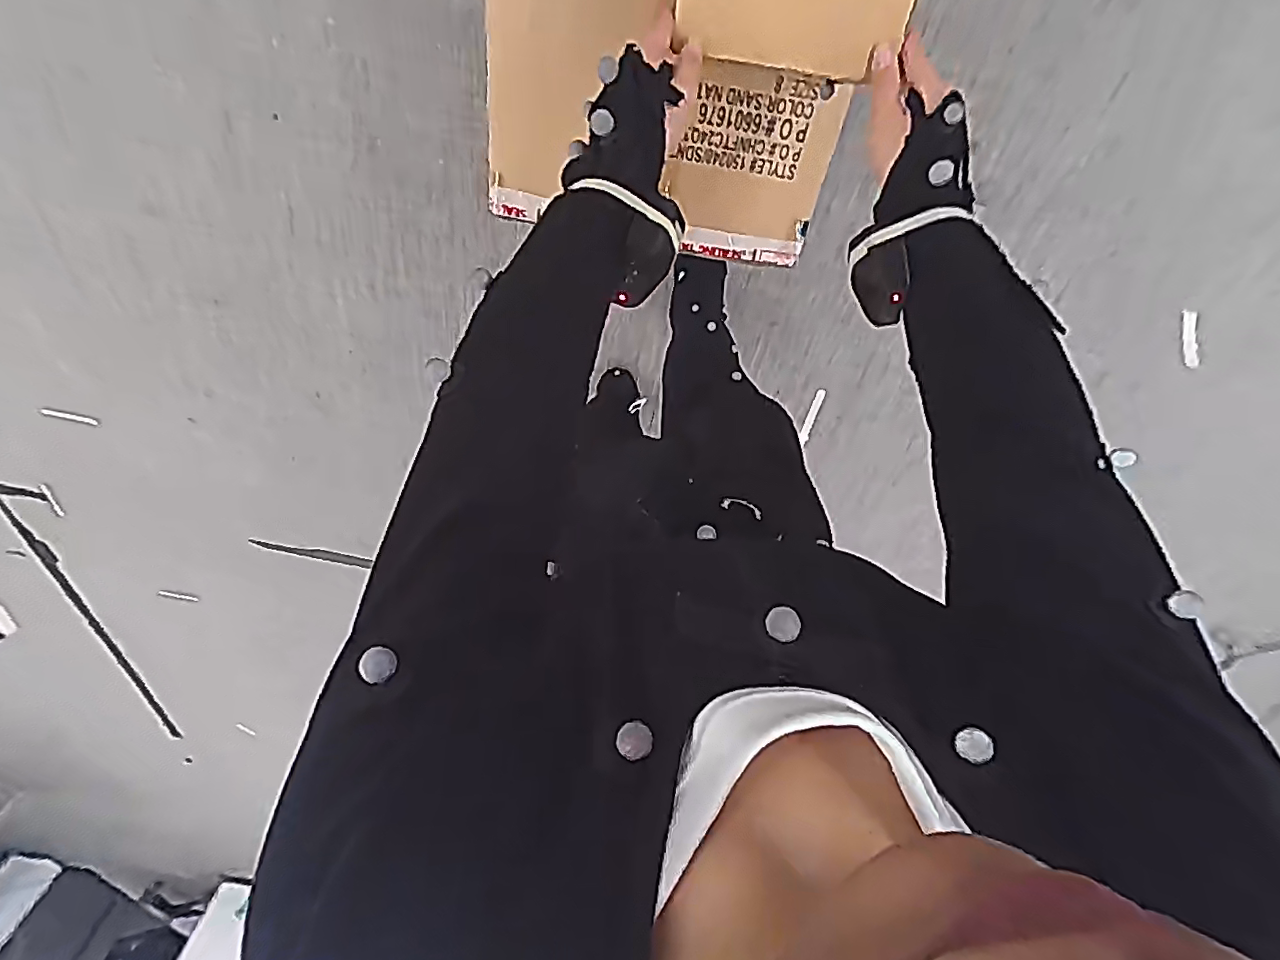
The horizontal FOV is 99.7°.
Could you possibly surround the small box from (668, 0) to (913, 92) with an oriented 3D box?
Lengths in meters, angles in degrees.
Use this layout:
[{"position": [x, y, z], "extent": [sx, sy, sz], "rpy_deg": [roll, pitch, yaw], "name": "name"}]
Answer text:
[{"position": [0.121, -0.430, 0.439], "extent": [0.179, 0.176, 0.168], "rpy_deg": [7, 128, -3], "name": "small box"}]
